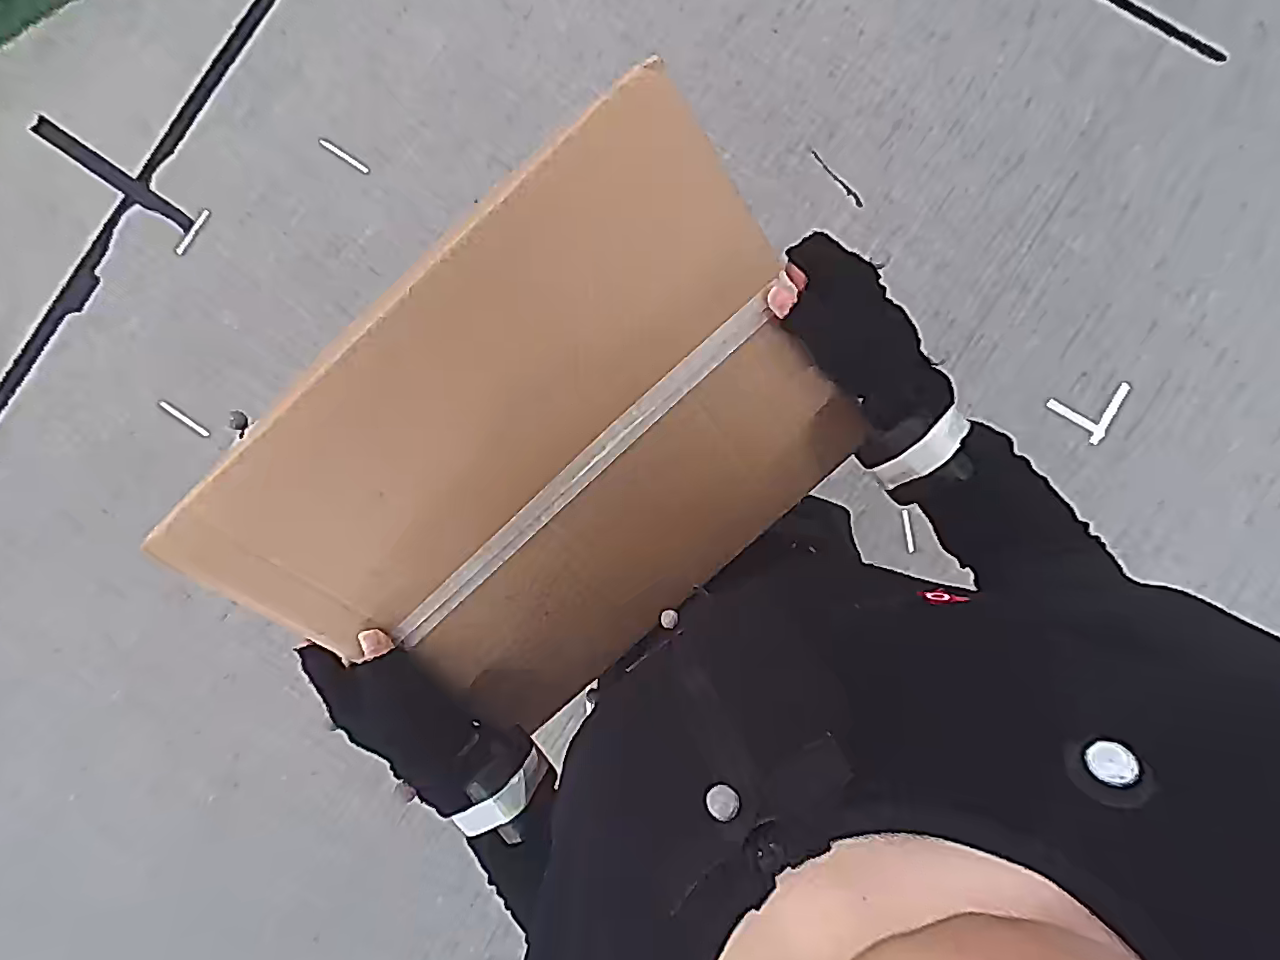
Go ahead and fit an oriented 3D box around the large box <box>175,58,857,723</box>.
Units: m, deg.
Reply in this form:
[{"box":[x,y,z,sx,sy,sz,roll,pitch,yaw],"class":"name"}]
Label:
[{"box":[-0.097,-0.069,0.520,0.408,0.320,0.320,-43,120,4],"class":"large box"}]
